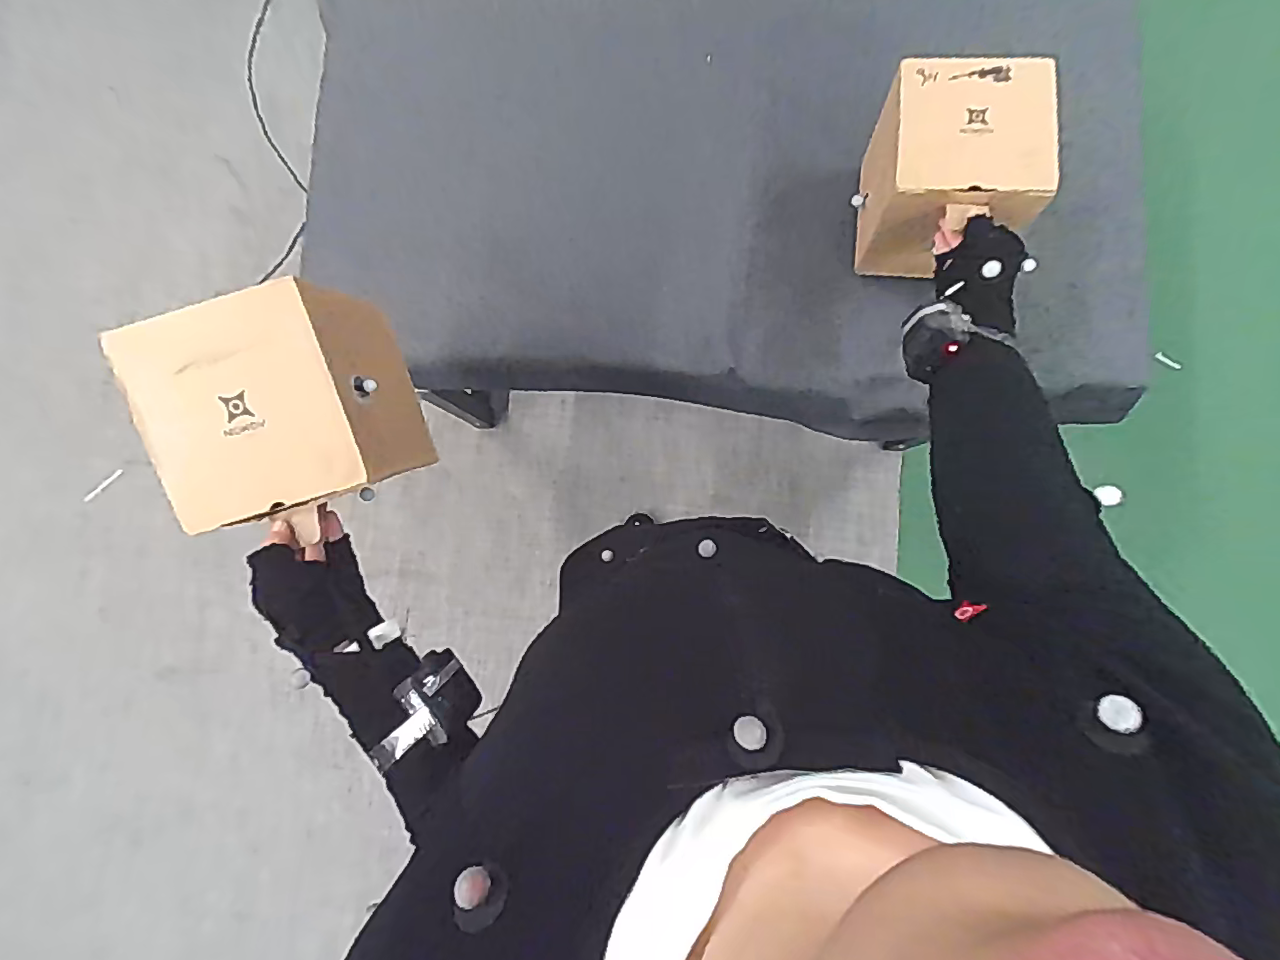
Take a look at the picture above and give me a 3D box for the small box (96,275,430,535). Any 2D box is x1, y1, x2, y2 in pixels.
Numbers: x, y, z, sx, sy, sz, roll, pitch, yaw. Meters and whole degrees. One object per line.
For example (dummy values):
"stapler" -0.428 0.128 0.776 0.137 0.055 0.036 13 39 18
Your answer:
"small box" -0.326 -0.069 0.512 0.168 0.176 0.179 -17 98 1

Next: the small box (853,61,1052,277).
"small box" 0.376 -0.377 0.680 0.168 0.176 0.179 6 80 7
